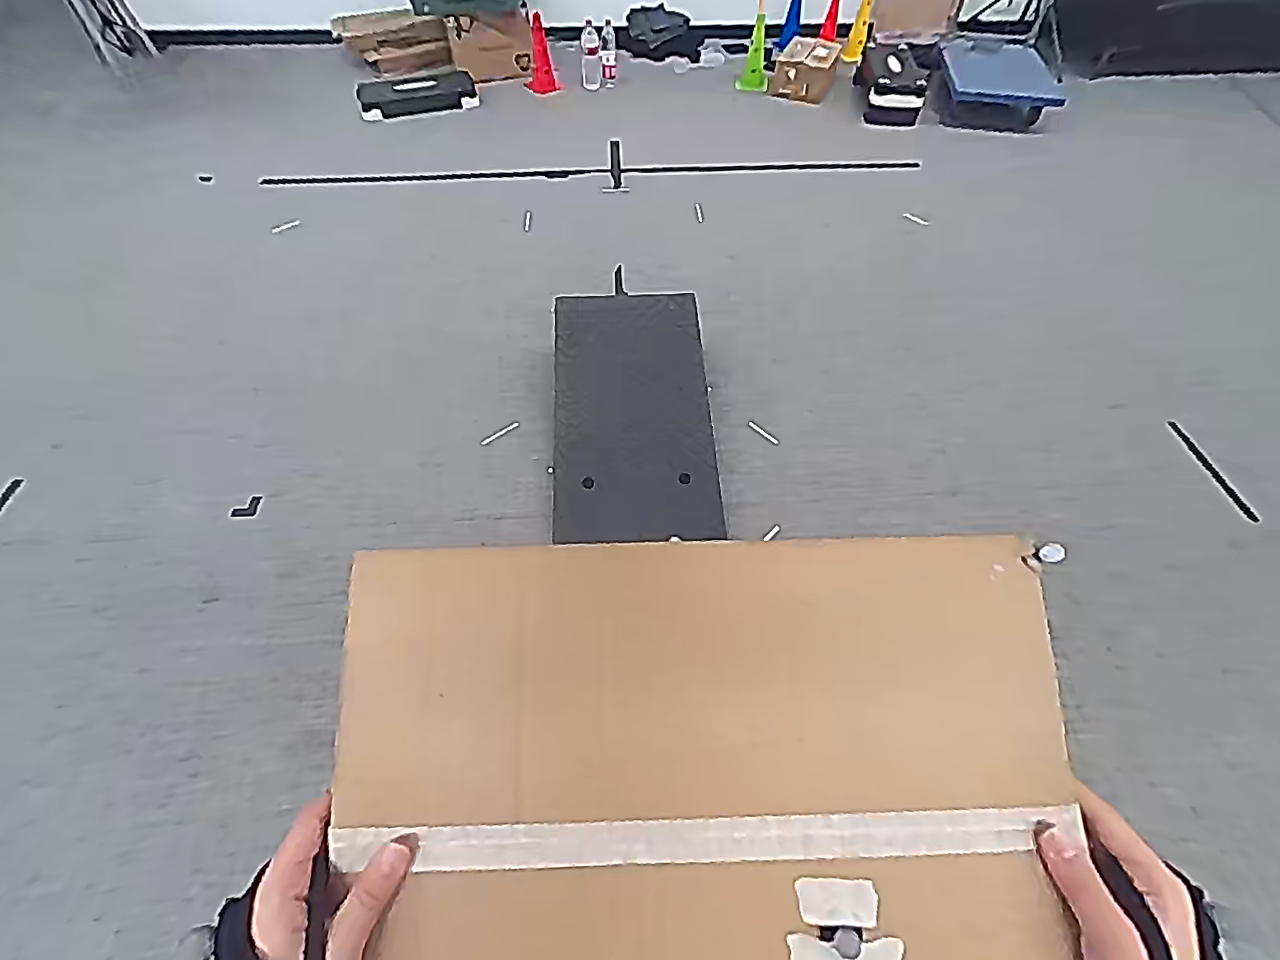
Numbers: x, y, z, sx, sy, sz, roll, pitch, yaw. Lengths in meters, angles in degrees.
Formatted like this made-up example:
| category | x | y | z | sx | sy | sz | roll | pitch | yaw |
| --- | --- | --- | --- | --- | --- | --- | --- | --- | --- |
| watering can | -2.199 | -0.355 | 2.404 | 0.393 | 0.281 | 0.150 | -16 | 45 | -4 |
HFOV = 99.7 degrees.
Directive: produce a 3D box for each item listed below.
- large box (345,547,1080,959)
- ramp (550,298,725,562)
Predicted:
| category | x | y | z | sx | sy | sz | roll | pitch | yaw |
| --- | --- | --- | --- | --- | --- | --- | --- | --- | --- |
| large box | 0.034 | 0.229 | 0.449 | 0.408 | 0.320 | 0.320 | -2 | 80 | -1 |
| ramp | -0.031 | -0.172 | 1.683 | 0.509 | 0.206 | 0.991 | -3 | 56 | -5 |
